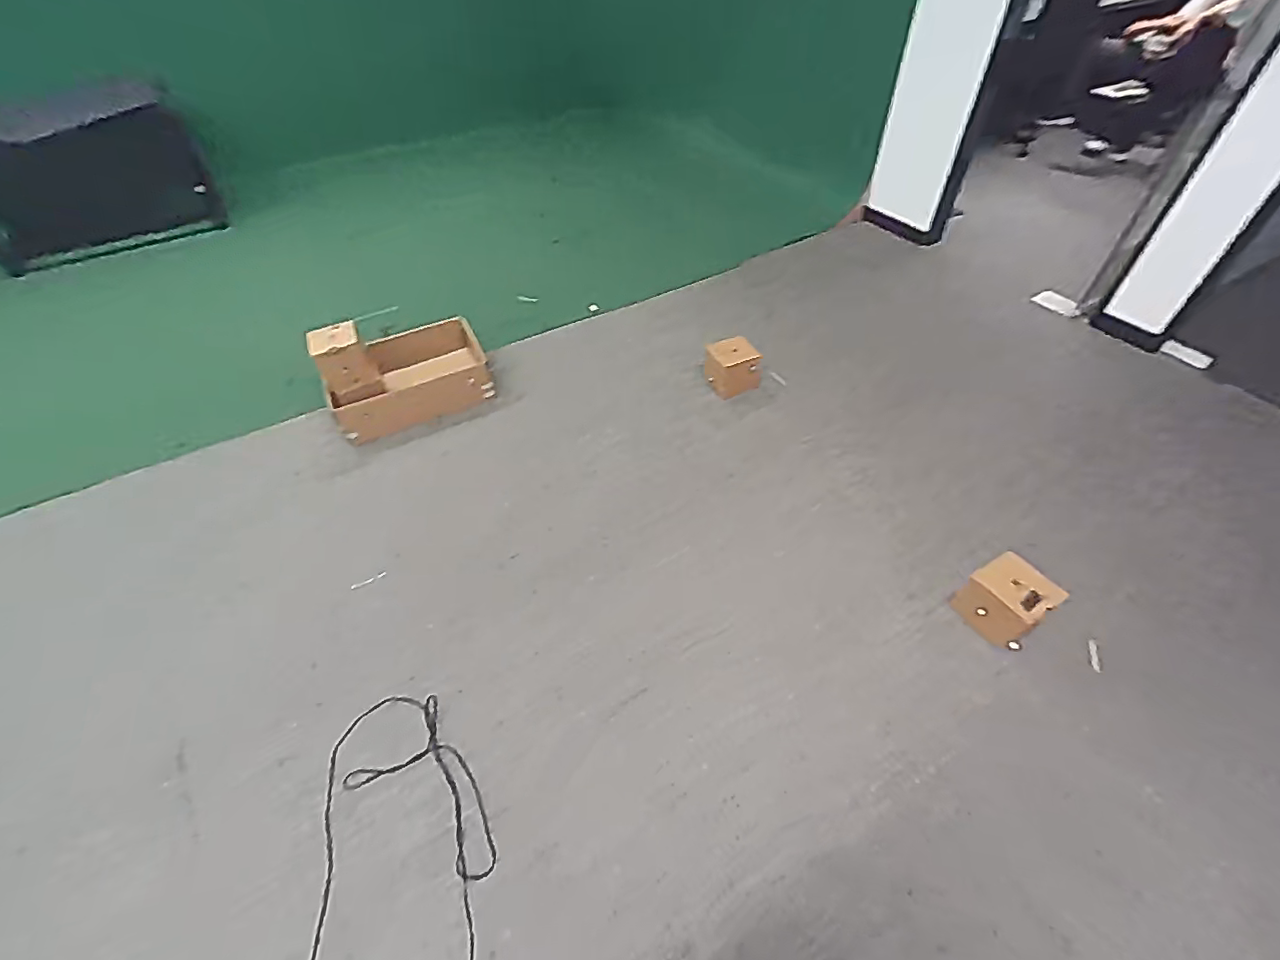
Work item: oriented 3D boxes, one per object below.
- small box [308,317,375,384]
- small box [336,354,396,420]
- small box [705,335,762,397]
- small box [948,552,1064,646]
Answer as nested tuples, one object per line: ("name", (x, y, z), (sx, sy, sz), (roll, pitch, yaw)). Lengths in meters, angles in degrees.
("small box", (-1.132, -0.484, 2.057), (0.168, 0.176, 0.179), (-22, 53, -15))
("small box", (-1.112, -0.373, 2.177), (0.168, 0.176, 0.179), (-26, 54, -18))
("small box", (0.383, -0.475, 2.257), (0.179, 0.176, 0.168), (-20, 50, -14))
("small box", (1.019, 0.343, 1.520), (0.168, 0.176, 0.179), (-24, 51, -17))
